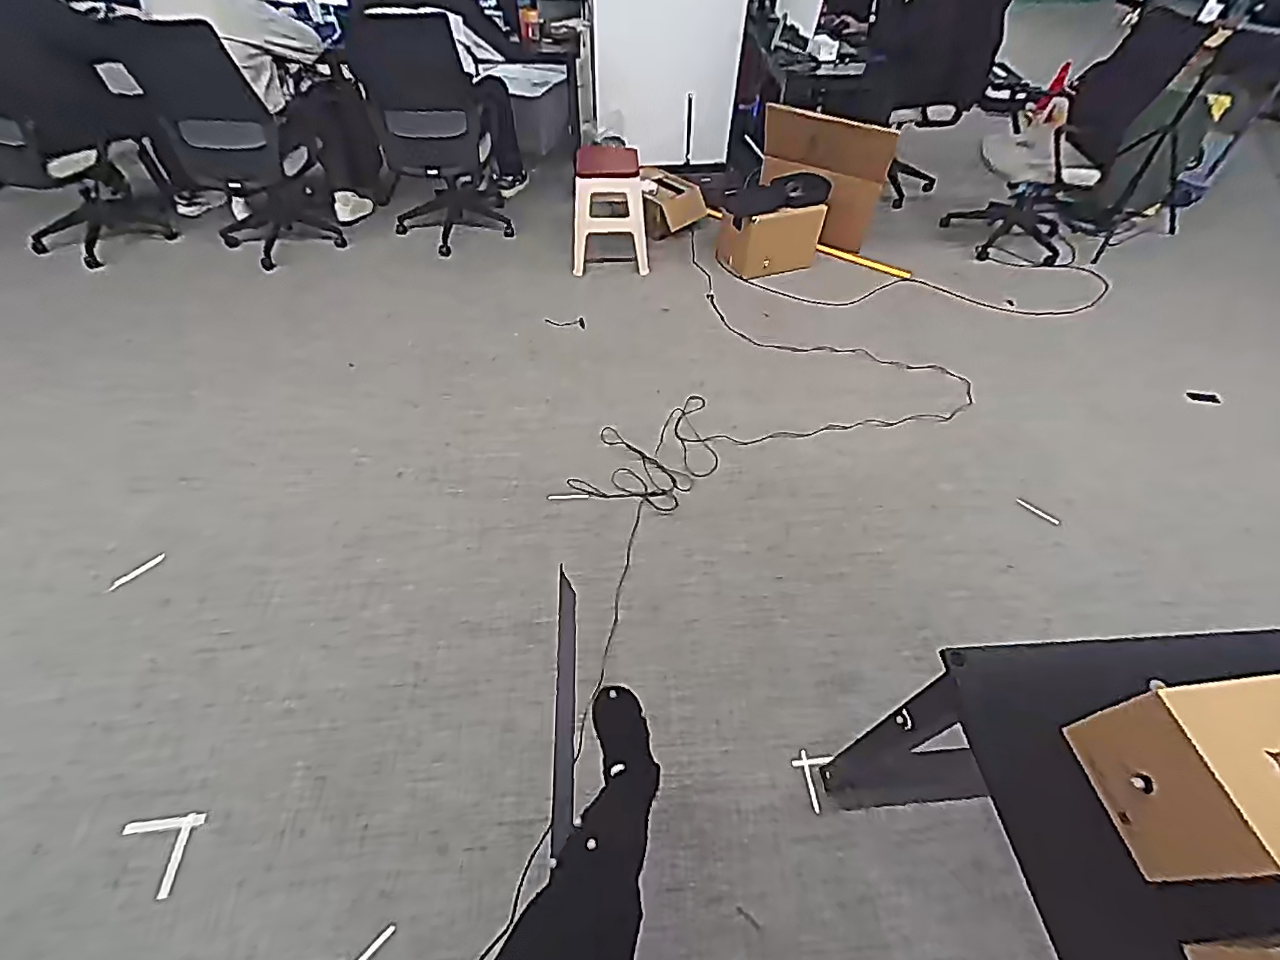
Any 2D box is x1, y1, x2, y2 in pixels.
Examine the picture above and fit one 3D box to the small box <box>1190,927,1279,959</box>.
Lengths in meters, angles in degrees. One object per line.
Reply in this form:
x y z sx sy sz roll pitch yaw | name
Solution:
0.674 0.501 0.474 0.179 0.176 0.168 -3 51 -3 | small box
